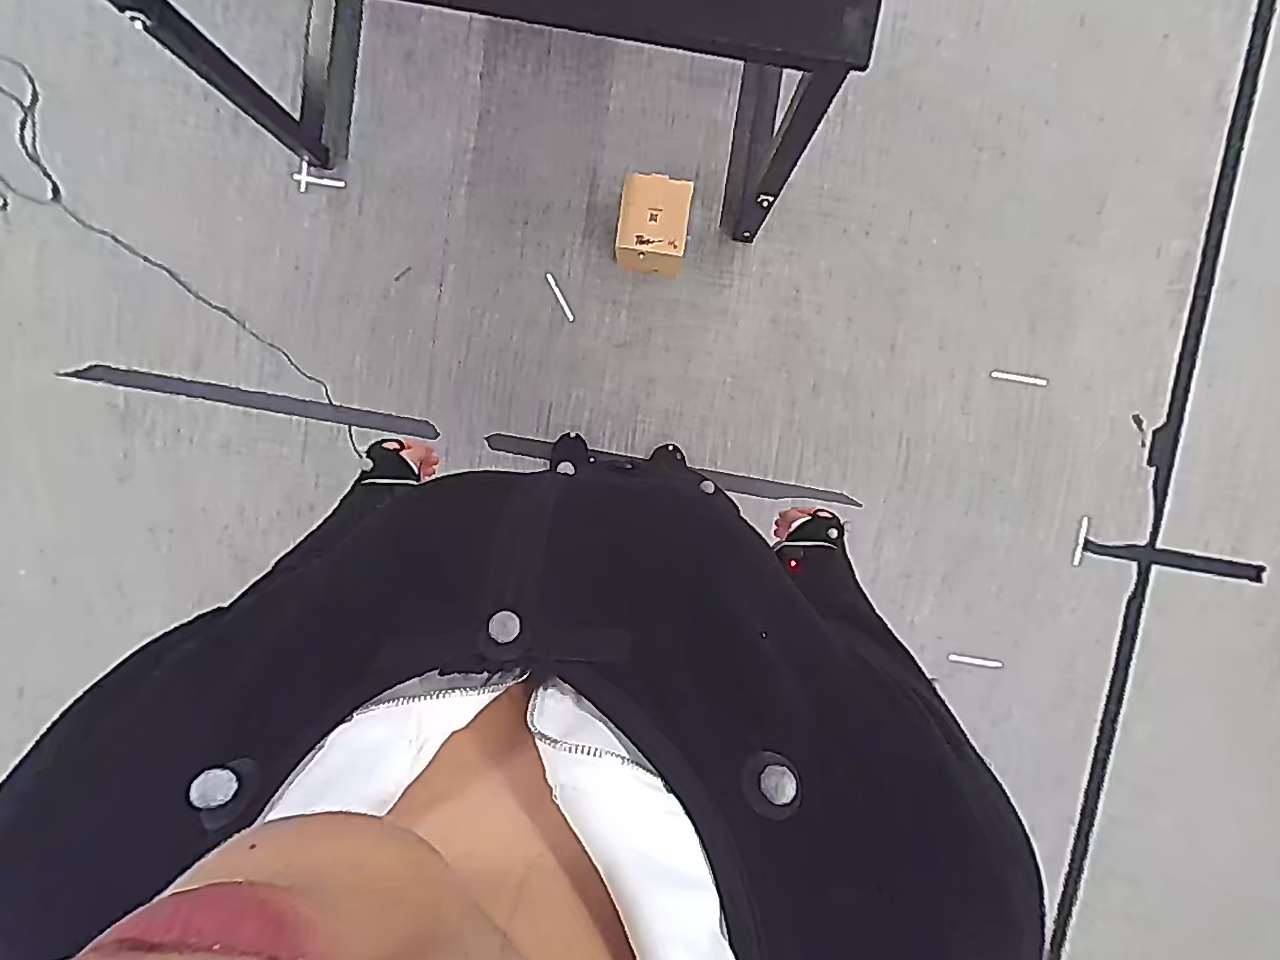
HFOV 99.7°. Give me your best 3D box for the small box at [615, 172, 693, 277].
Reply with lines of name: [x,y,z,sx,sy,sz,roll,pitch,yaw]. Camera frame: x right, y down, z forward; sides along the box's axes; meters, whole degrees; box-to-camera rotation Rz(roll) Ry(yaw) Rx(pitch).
small box: [0.033,-0.636,1.363,0.168,0.176,0.179,9,94,0]
